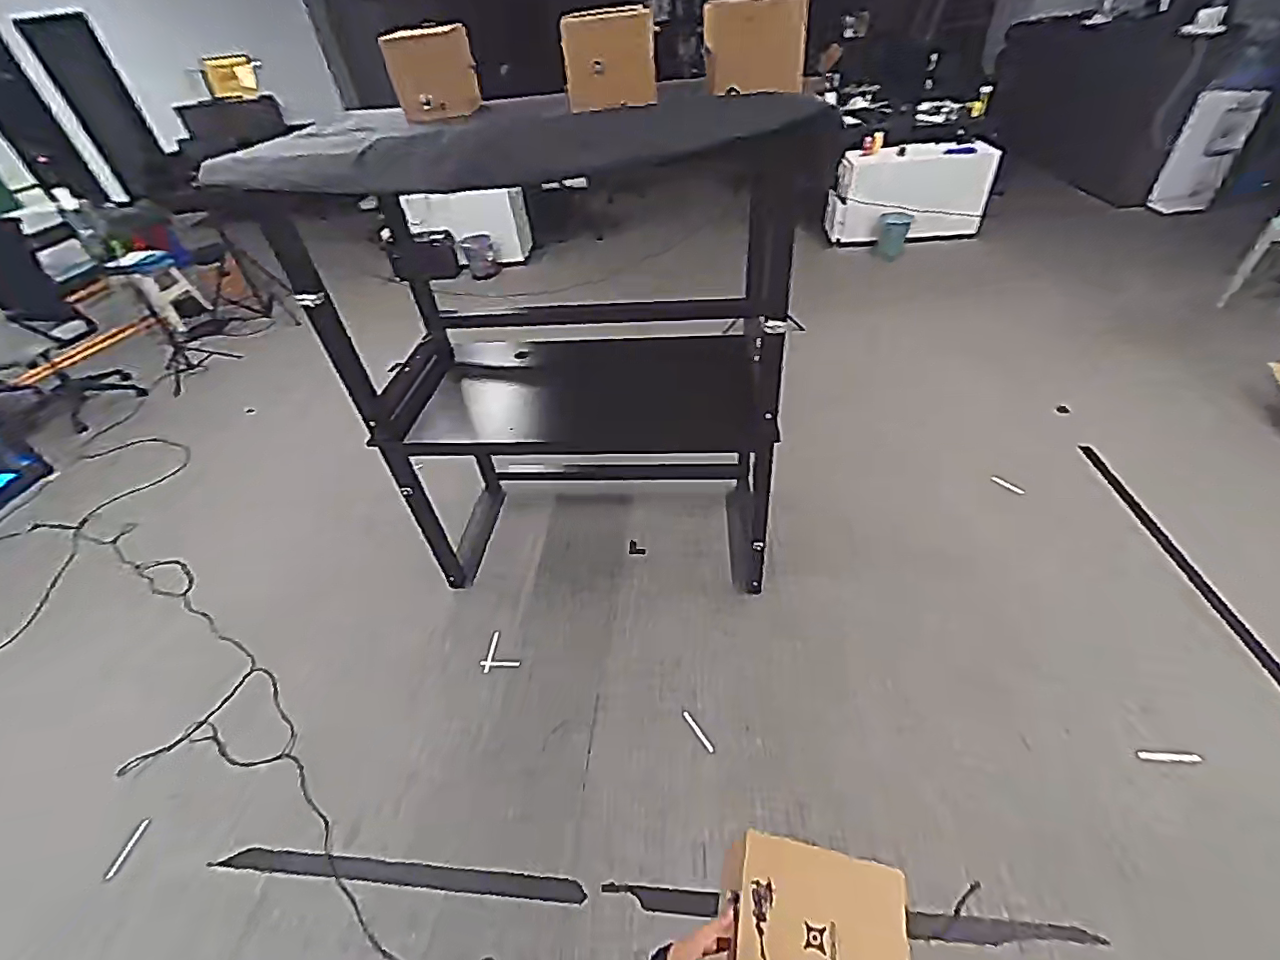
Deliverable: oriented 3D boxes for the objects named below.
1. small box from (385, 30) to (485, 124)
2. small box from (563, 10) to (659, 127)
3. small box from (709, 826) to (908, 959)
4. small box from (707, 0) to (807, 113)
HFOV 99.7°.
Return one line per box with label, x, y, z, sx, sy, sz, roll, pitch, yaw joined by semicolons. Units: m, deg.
small box;-0.501;-1.006;1.354;0.168;0.176;0.179;-6;42;3
small box;-0.049;-0.835;1.103;0.168;0.176;0.179;-2;41;6
small box;0.183;0.521;0.615;0.179;0.176;0.168;11;49;7
small box;0.223;-0.836;1.063;0.168;0.176;0.179;-5;41;3
